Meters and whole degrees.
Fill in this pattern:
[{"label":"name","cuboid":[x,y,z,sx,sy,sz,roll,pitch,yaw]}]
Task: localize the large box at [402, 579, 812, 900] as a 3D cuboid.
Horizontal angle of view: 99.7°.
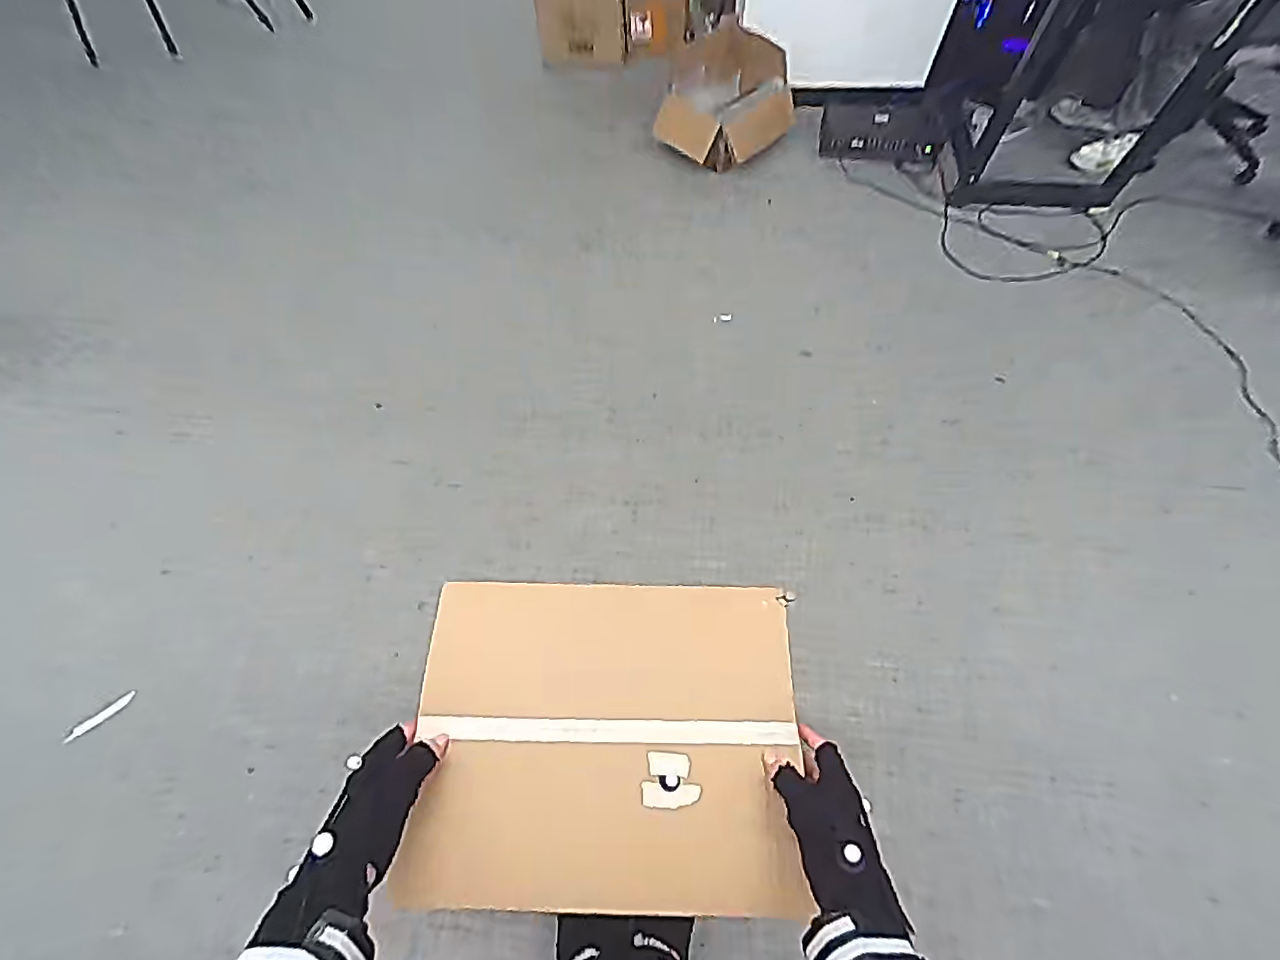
[{"label":"large box","cuboid":[-0.033,0.324,0.713,0.408,0.320,0.320,1,65,0]}]
